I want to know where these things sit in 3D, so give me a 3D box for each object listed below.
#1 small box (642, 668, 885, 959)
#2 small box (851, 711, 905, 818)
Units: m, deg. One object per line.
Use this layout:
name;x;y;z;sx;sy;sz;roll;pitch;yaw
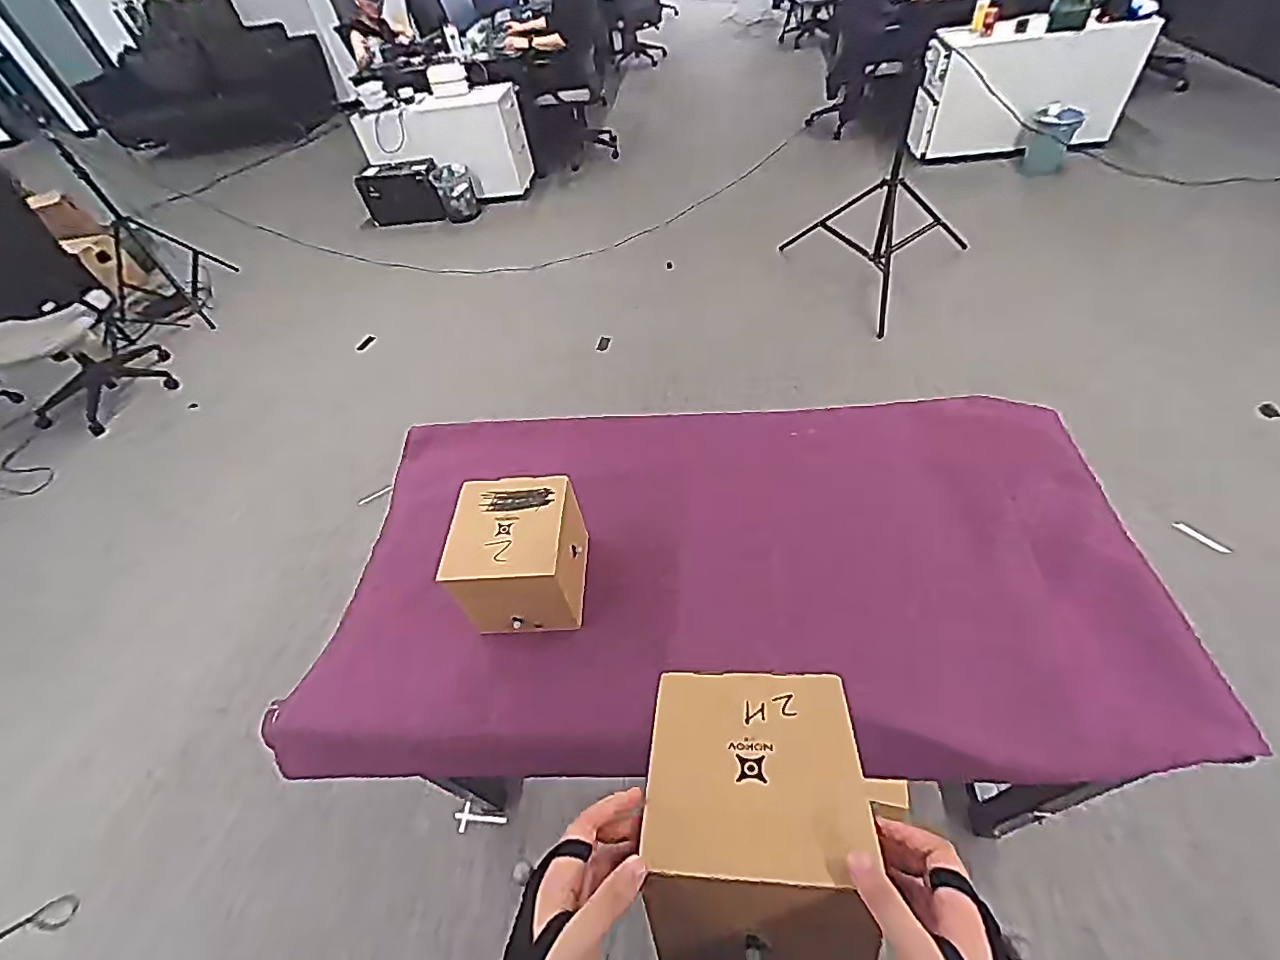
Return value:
small box;0.103;0.291;0.471;0.168;0.176;0.179;-2;27;10
small box;0.497;0.647;1.236;0.168;0.176;0.179;6;50;14
